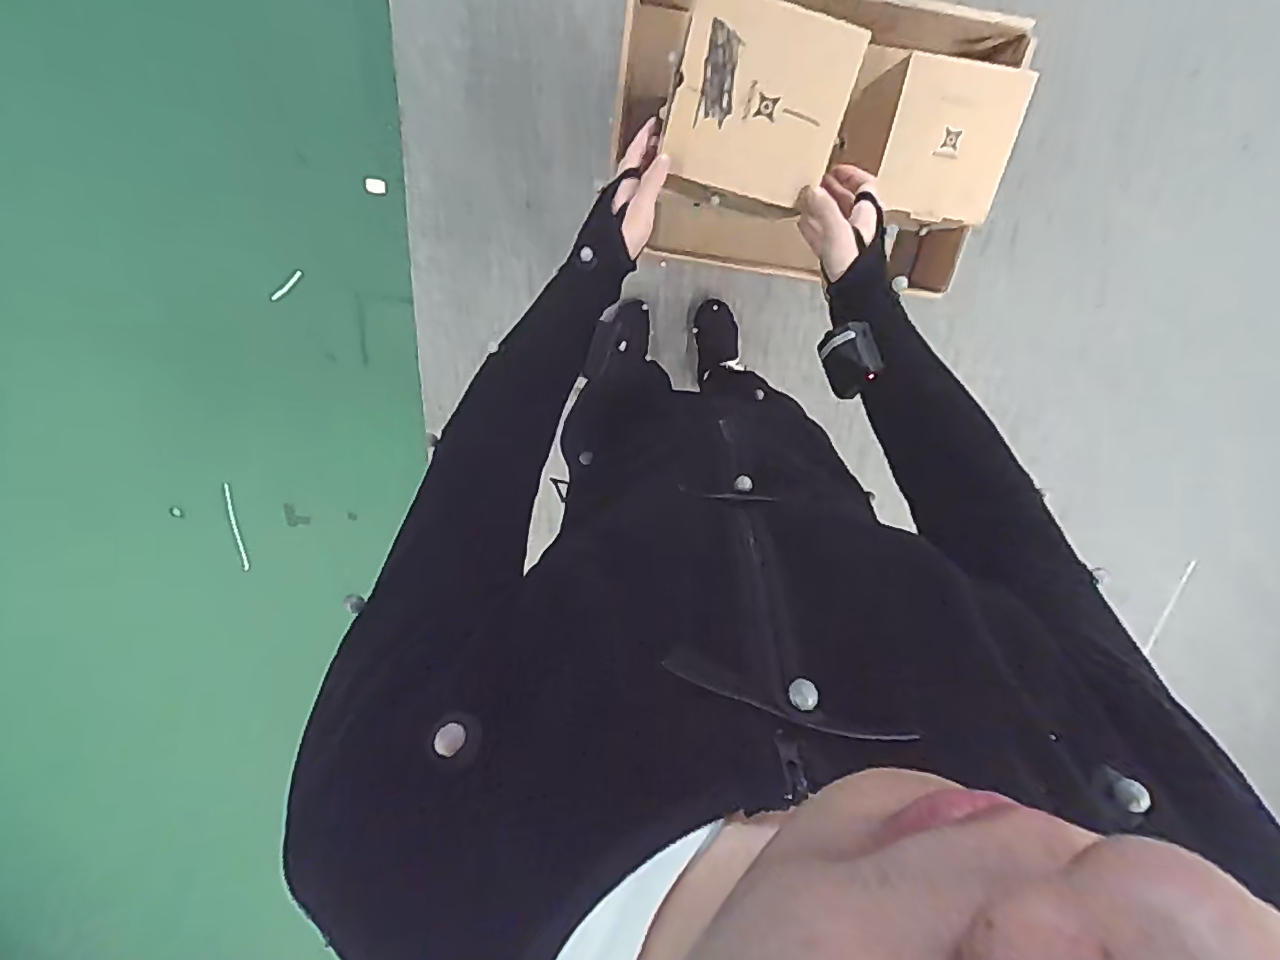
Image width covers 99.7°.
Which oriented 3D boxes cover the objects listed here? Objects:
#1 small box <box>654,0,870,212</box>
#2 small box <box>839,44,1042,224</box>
[{"bbox_3d":[0.118,-0.414,0.613,0.179,0.176,0.168,13,114,-6],"label":"small box"},{"bbox_3d":[0.401,-0.468,0.762,0.168,0.176,0.179,8,113,-4],"label":"small box"}]
